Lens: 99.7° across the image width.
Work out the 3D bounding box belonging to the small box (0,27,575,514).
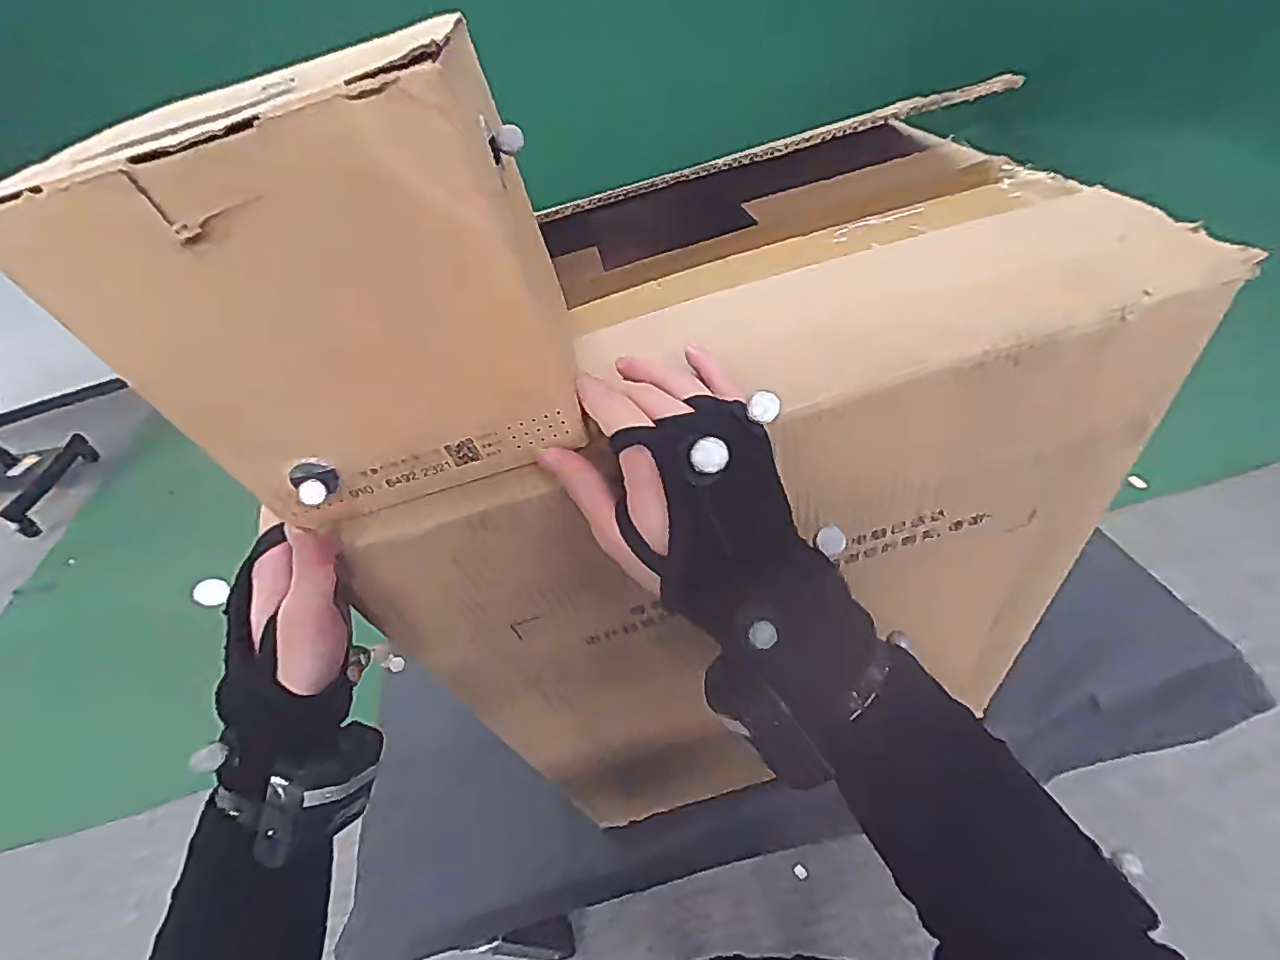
[{"bbox_3d":[-0.140,-0.102,0.287,0.168,0.176,0.179,-16,44,2],"label":"small box"}]
